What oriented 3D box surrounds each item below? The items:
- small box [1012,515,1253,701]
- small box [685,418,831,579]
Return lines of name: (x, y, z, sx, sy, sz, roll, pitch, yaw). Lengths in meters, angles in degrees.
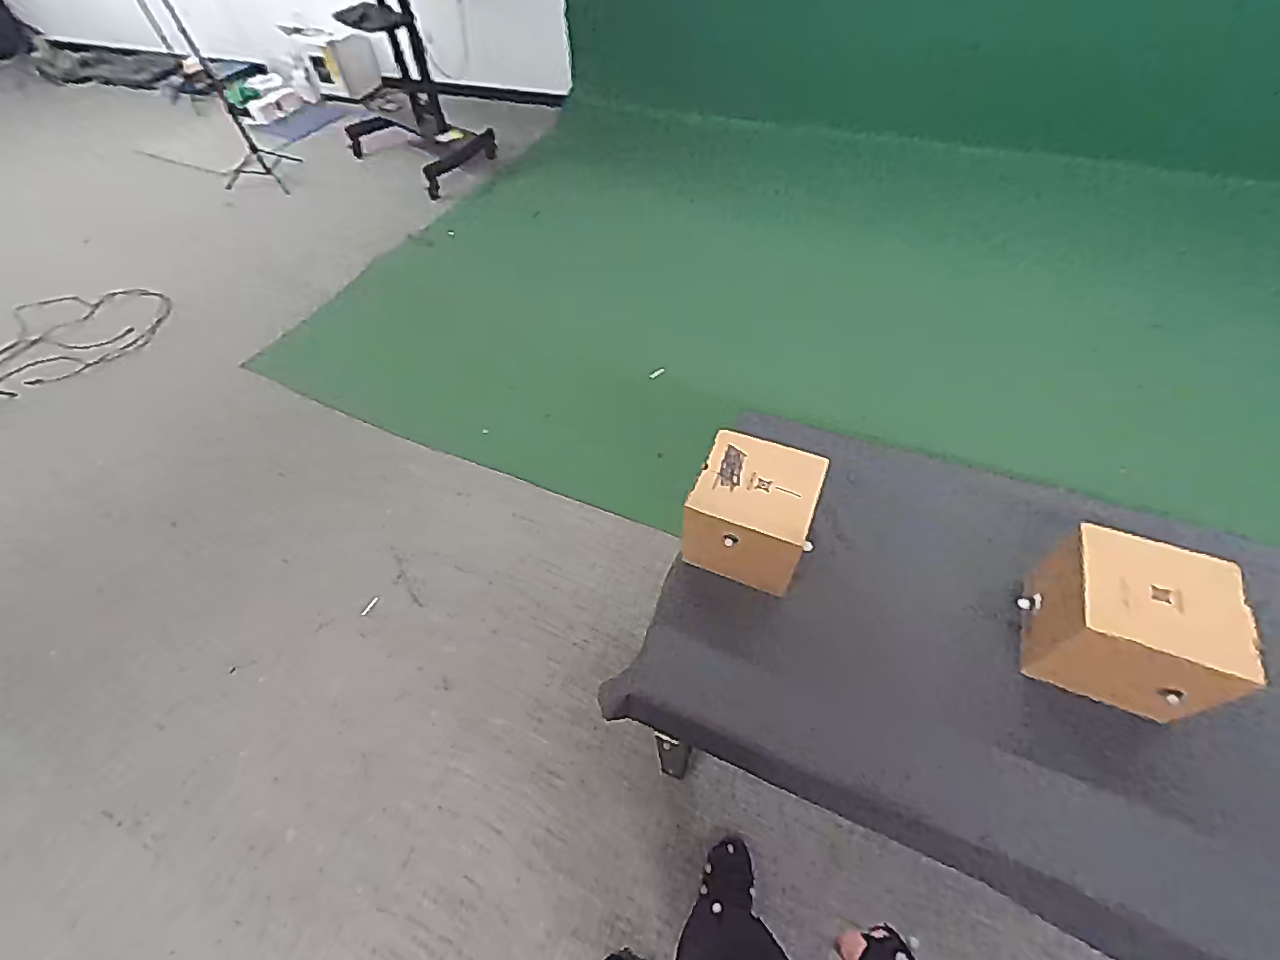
small box: (0.647, 0.180, 0.736, 0.179, 0.176, 0.168, 17, 56, 16)
small box: (0.179, 0.034, 0.858, 0.179, 0.176, 0.168, 19, 58, 14)
